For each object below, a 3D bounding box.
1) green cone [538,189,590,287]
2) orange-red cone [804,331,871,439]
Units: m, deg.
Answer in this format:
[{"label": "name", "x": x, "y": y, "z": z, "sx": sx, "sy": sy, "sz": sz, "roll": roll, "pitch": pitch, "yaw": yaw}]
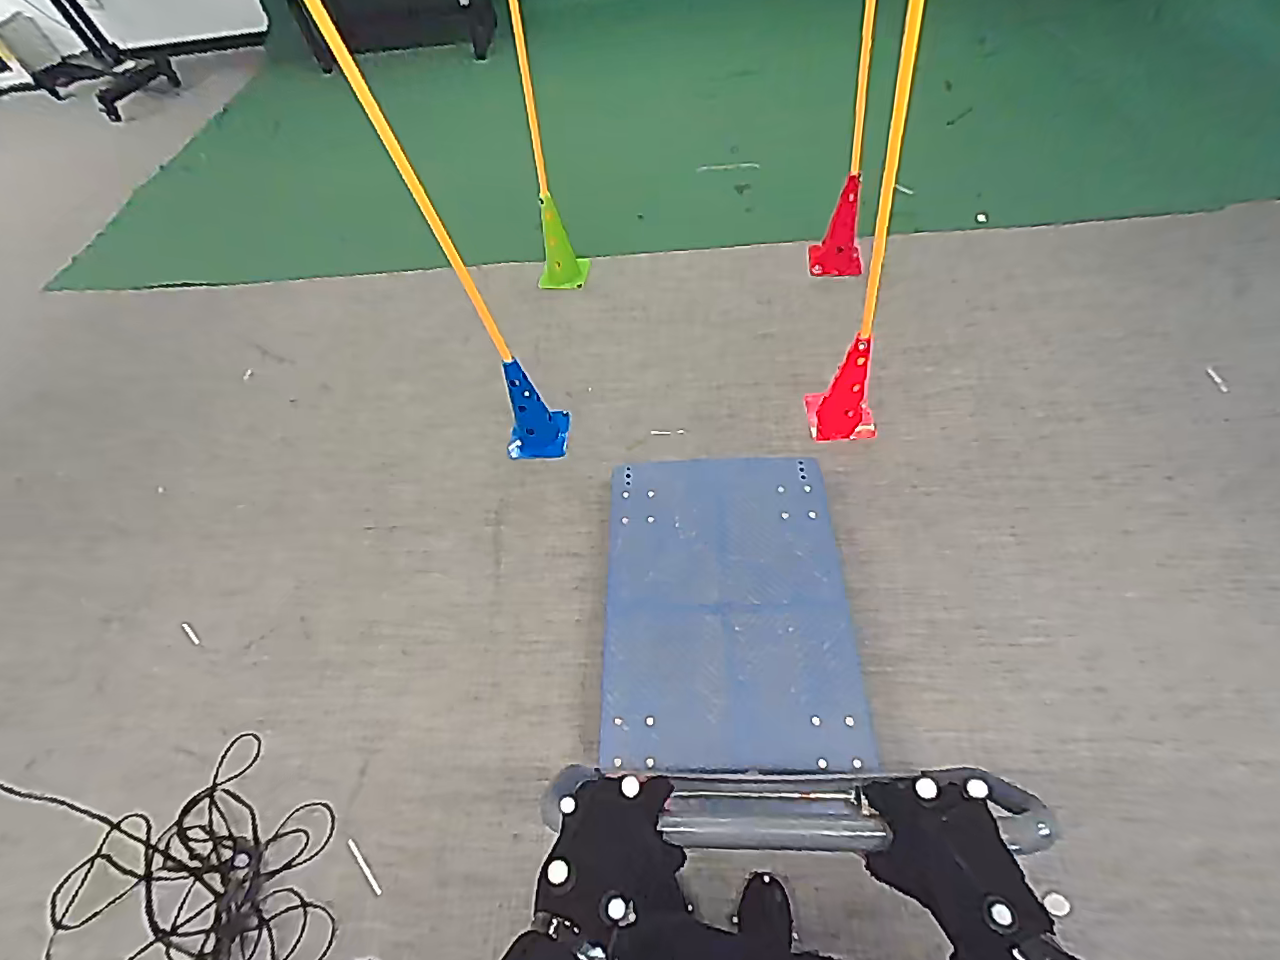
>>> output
[{"label": "green cone", "x": -0.345, "y": -1.001, "z": 2.207, "sx": 0.202, "sy": 0.368, "sz": 0.200, "roll": 2, "pitch": 57, "yaw": 9}, {"label": "orange-red cone", "x": 0.635, "y": -0.309, "z": 1.657, "sx": 0.199, "sy": 0.360, "sz": 0.198, "roll": -3, "pitch": 57, "yaw": 7}]
